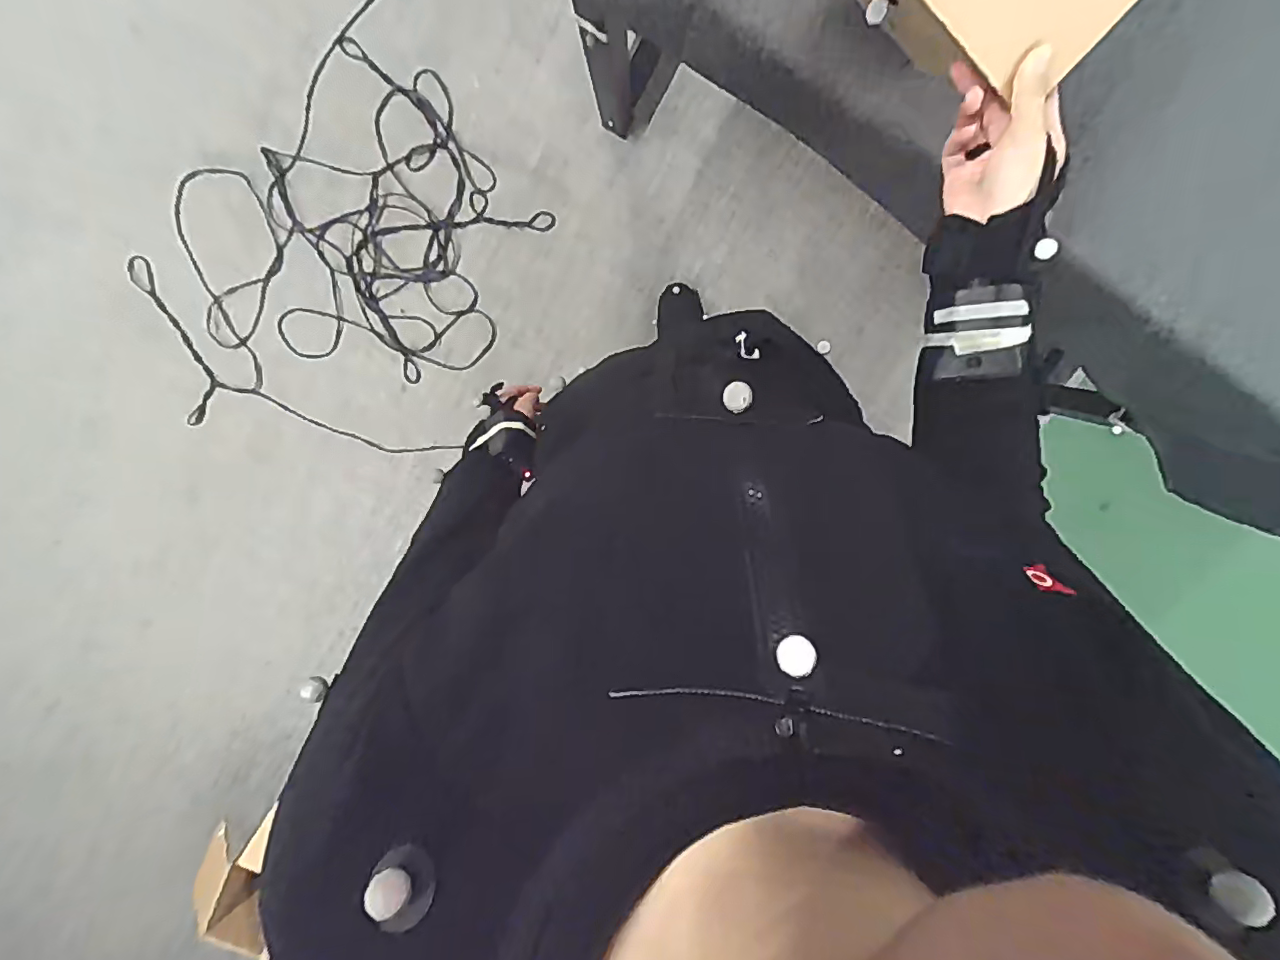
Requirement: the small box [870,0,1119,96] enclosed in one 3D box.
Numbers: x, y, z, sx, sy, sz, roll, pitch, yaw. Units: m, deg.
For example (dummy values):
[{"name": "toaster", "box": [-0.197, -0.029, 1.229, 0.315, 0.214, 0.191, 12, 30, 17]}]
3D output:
[{"name": "small box", "box": [0.233, -0.394, 0.340, 0.168, 0.176, 0.179, 23, 127, -25]}]
